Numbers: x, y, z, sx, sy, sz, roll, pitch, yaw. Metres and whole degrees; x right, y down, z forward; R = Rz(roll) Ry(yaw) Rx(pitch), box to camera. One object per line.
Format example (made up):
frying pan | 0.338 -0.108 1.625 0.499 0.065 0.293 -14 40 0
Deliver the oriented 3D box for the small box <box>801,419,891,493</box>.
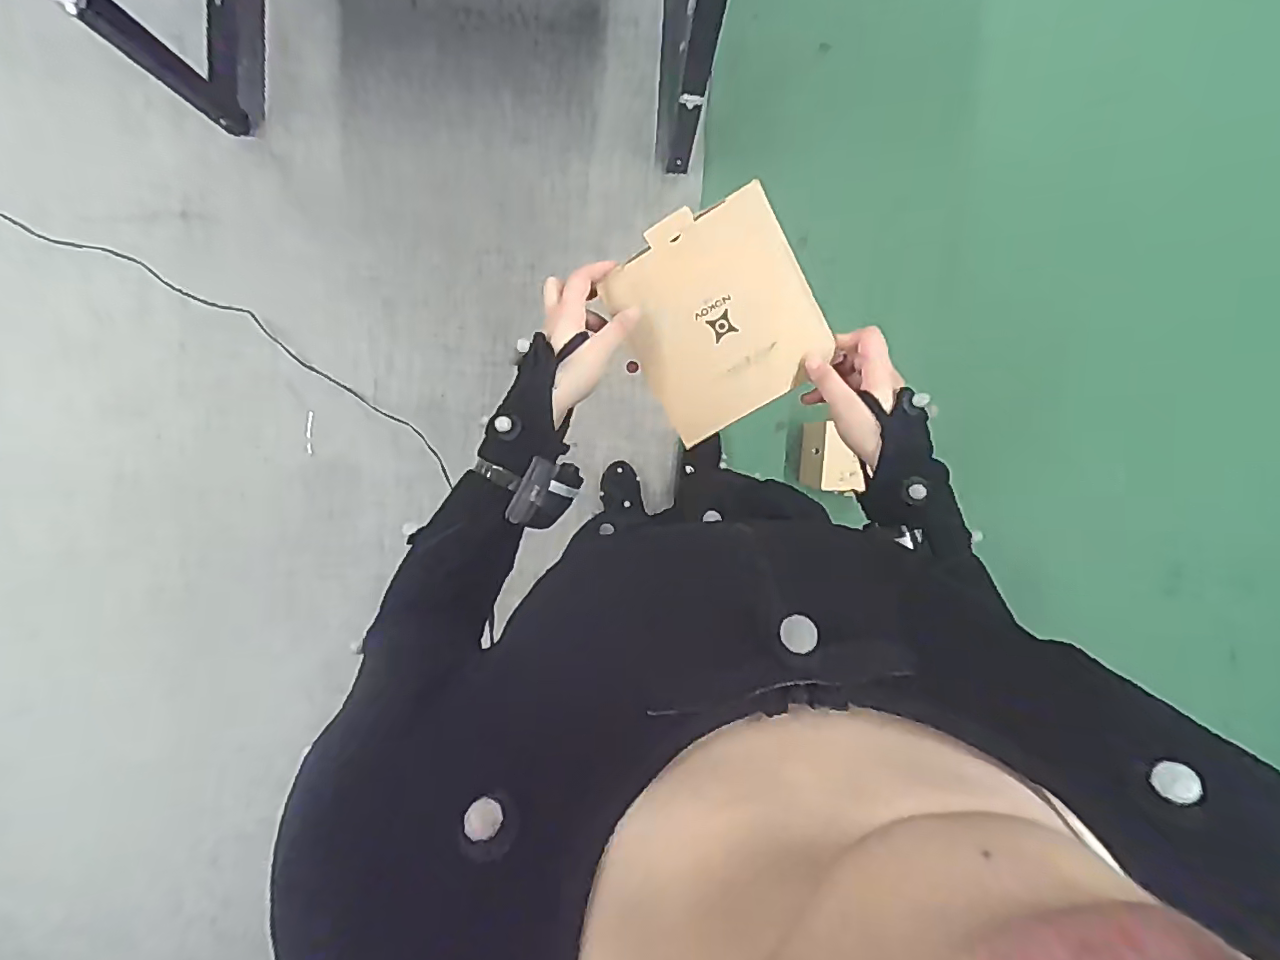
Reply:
small box | 0.531 -0.066 1.413 0.168 0.176 0.179 3 95 -2

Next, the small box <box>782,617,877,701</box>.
small box | 0.503 0.485 1.463 0.179 0.176 0.168 12 95 -3
